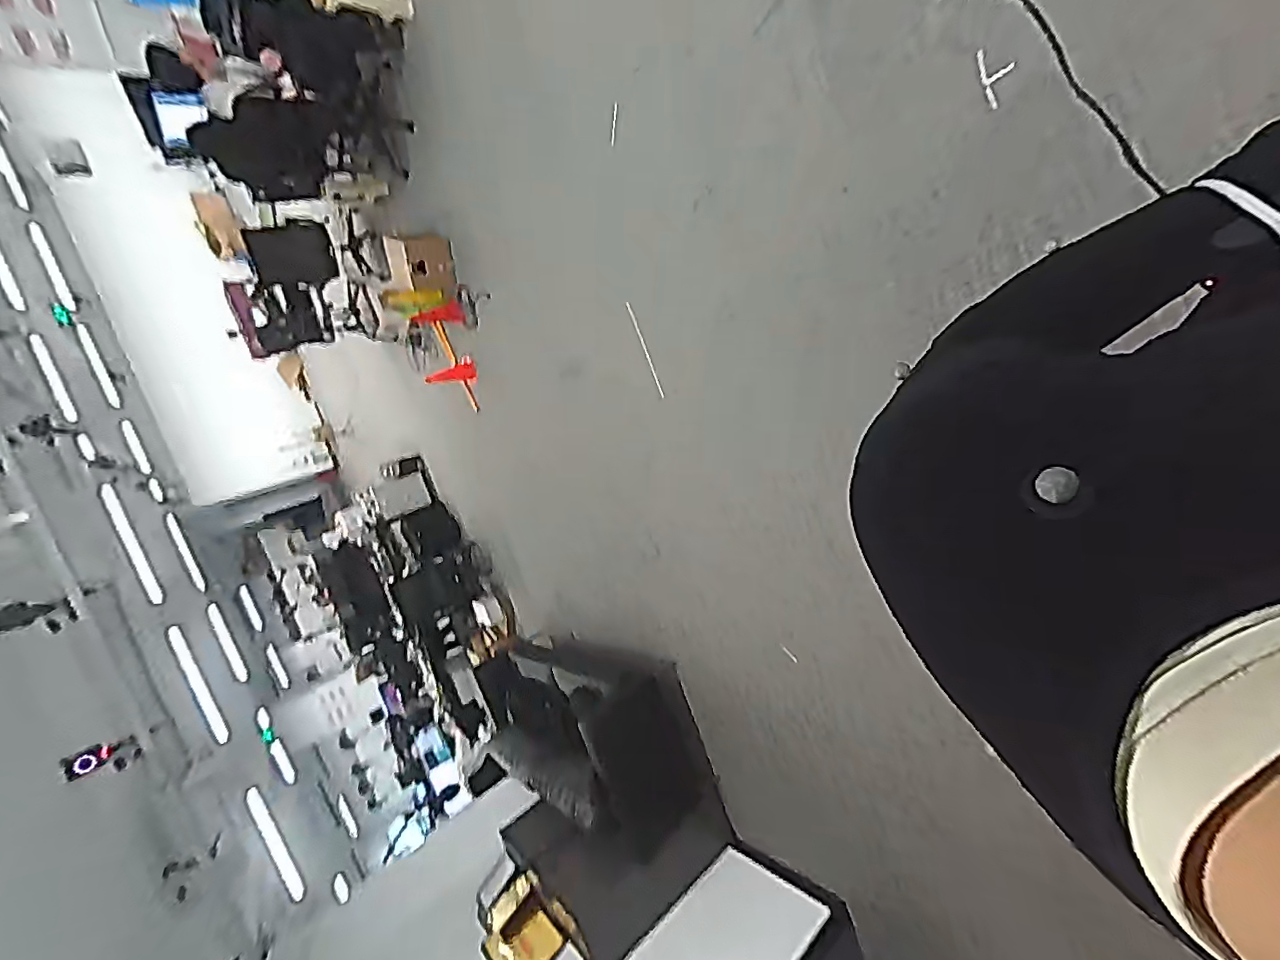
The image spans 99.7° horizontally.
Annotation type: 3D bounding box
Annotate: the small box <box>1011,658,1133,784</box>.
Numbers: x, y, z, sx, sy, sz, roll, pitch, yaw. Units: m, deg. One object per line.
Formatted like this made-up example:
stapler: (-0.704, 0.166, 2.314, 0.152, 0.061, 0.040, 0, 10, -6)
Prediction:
small box: (0.963, 0.521, 1.201, 0.179, 0.176, 0.168, -1, 108, 53)

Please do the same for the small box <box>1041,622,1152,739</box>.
small box: (1.090, 0.467, 1.288, 0.168, 0.176, 0.179, -1, 108, 53)
